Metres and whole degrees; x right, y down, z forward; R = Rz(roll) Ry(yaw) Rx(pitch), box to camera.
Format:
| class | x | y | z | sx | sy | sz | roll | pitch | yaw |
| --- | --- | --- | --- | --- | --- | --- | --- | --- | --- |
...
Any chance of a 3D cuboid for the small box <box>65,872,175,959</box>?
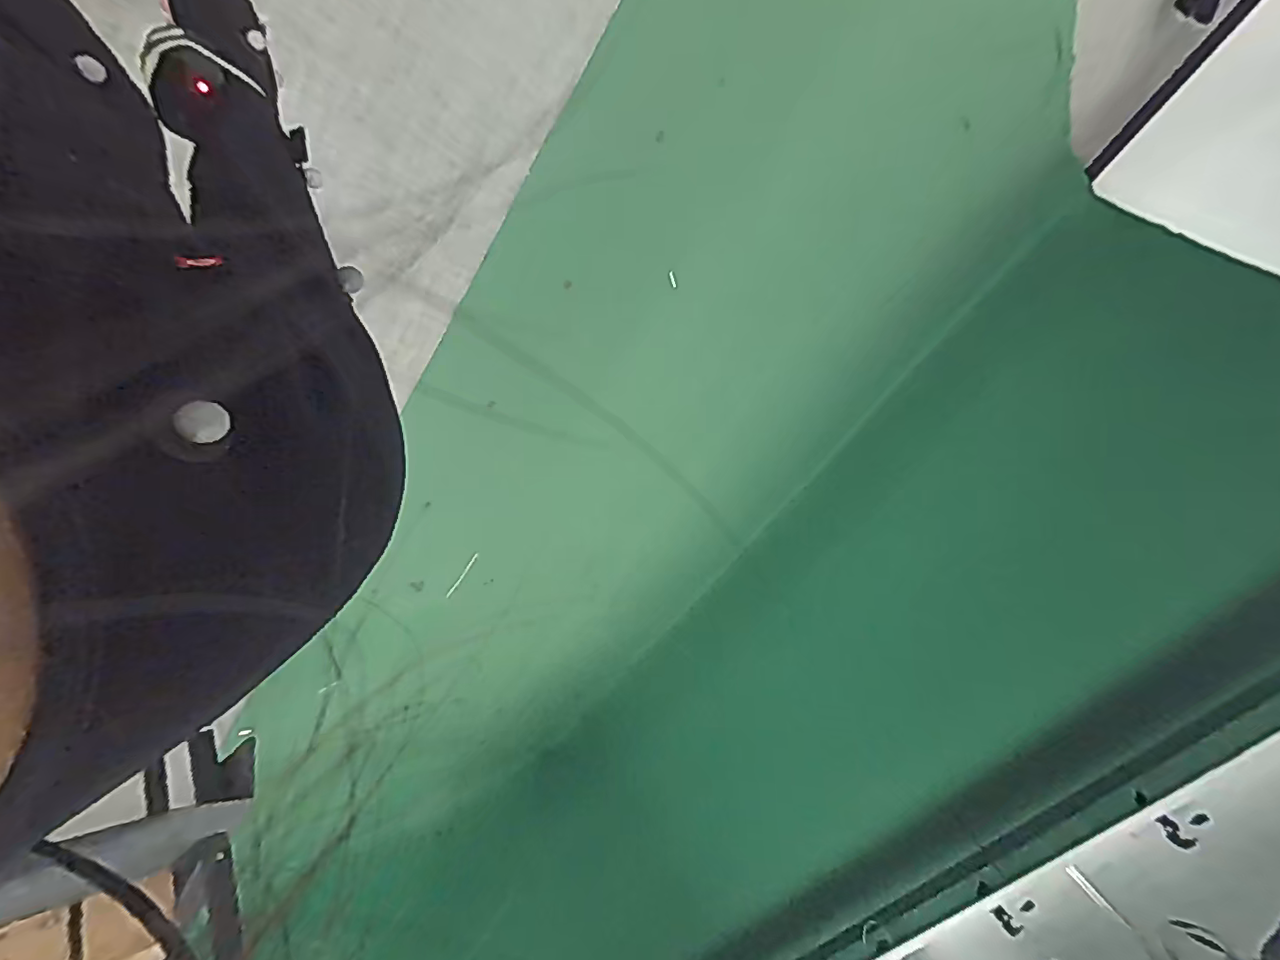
| class | x | y | z | sx | sy | sz | roll | pitch | yaw |
| --- | --- | --- | --- | --- | --- | --- | --- | --- | --- |
| small box | -1.285 | 1.111 | 1.333 | 0.168 | 0.176 | 0.179 | 12 | 123 | -52 |
